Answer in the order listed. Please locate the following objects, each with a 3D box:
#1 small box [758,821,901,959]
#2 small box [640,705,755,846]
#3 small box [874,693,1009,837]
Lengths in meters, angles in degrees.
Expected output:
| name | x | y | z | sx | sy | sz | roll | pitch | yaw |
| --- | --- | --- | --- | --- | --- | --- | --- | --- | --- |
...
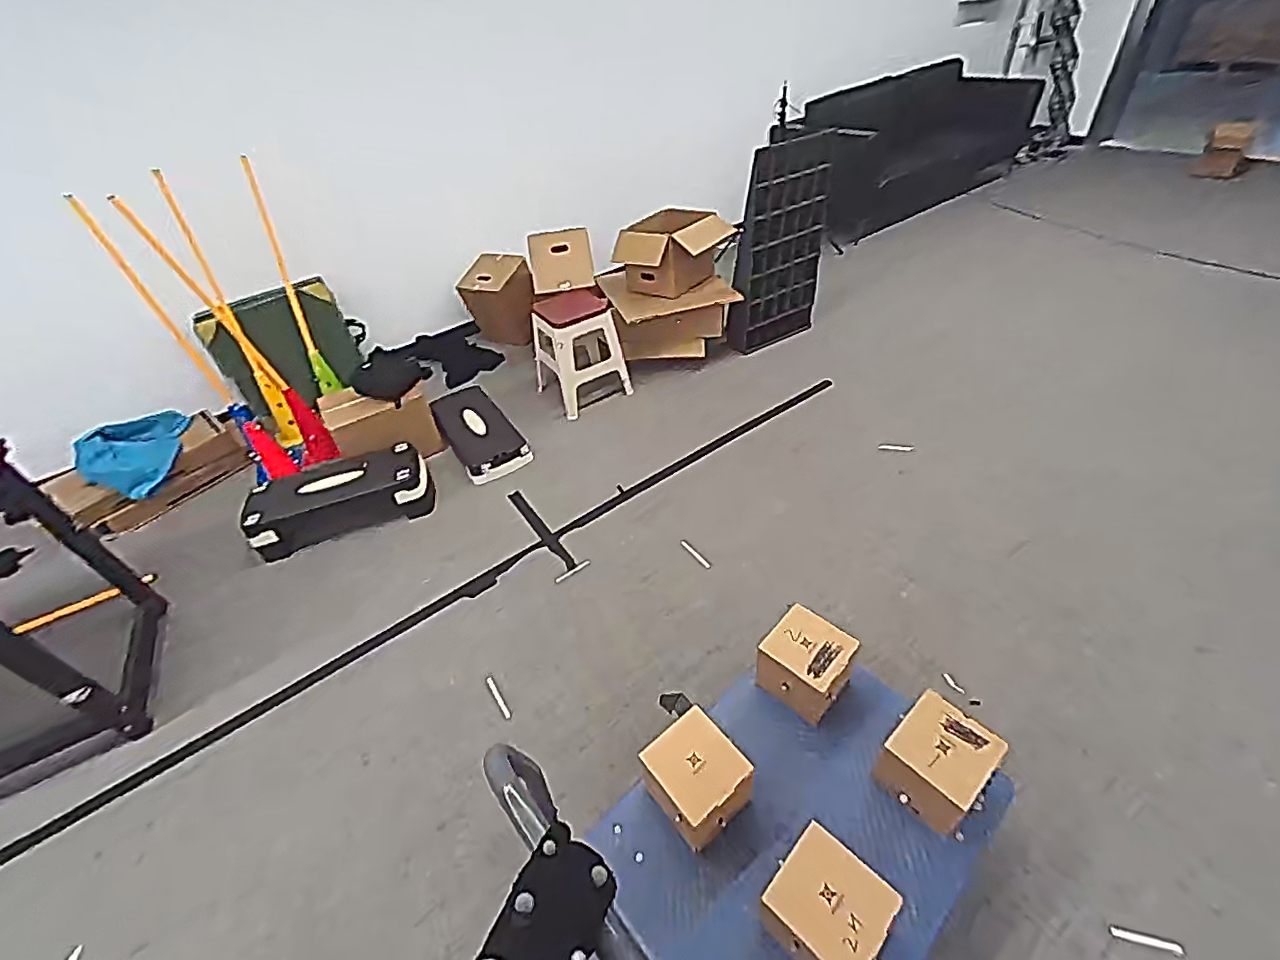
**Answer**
| name | x | y | z | sx | sy | sz | roll | pitch | yaw |
| --- | --- | --- | --- | --- | --- | --- | --- | --- | --- |
| small box | 0.326 | 0.766 | 0.963 | 0.168 | 0.176 | 0.179 | -36 | 49 | -28 |
| small box | 0.118 | 0.627 | 1.145 | 0.168 | 0.176 | 0.179 | -30 | 48 | -25 |
| small box | 0.612 | 0.589 | 1.120 | 0.179 | 0.176 | 0.168 | -33 | 48 | -25 |
